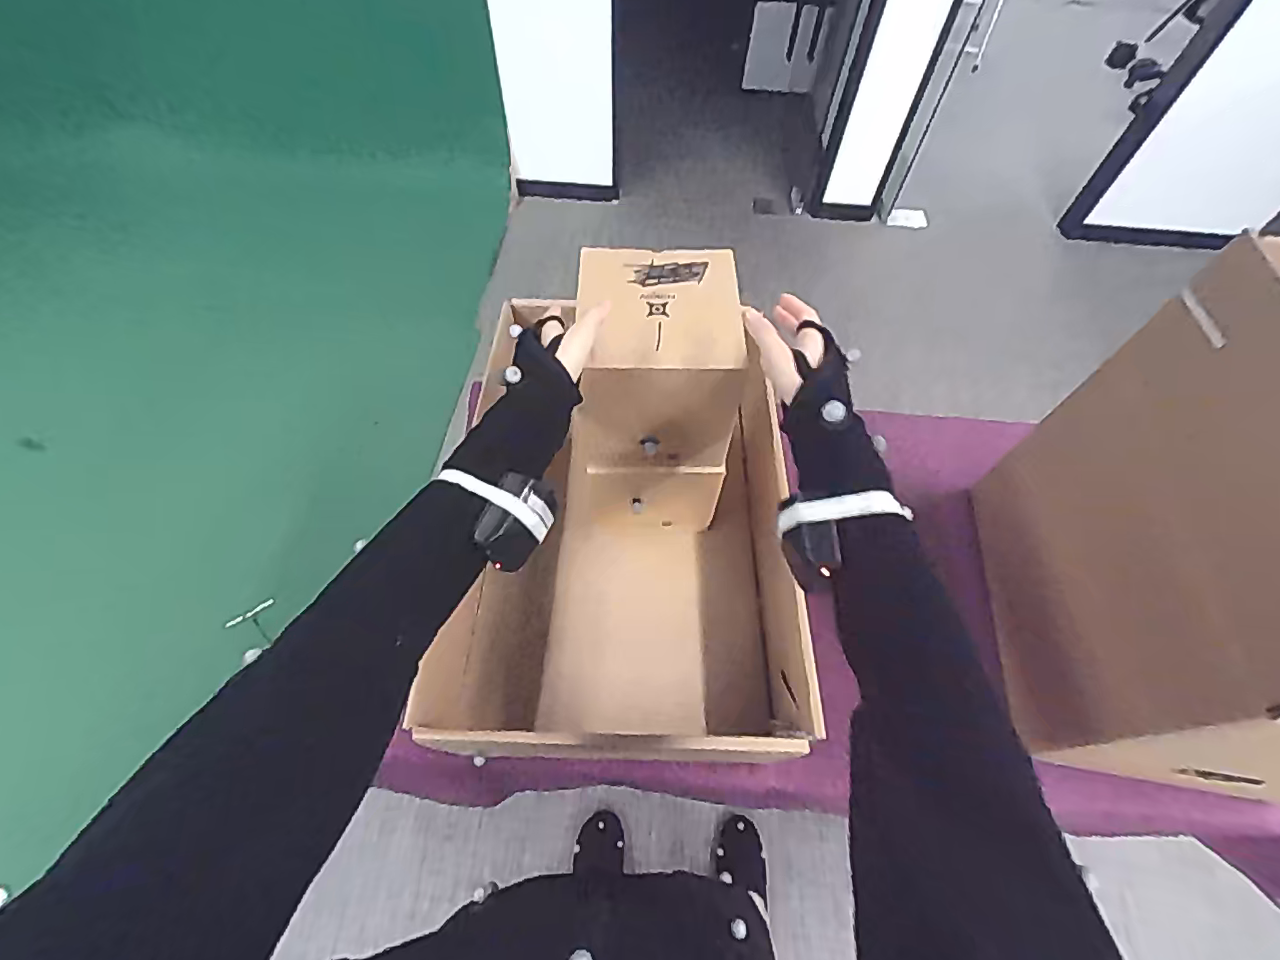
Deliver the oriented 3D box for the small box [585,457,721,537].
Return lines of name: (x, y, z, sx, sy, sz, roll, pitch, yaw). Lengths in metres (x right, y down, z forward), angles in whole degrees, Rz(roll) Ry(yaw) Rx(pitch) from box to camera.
small box: (0.015, -0.029, 0.747, 0.168, 0.176, 0.179, -1, 58, -1)

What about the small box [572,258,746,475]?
small box: (0.017, -0.124, 0.611, 0.168, 0.176, 0.179, 0, 58, 0)
